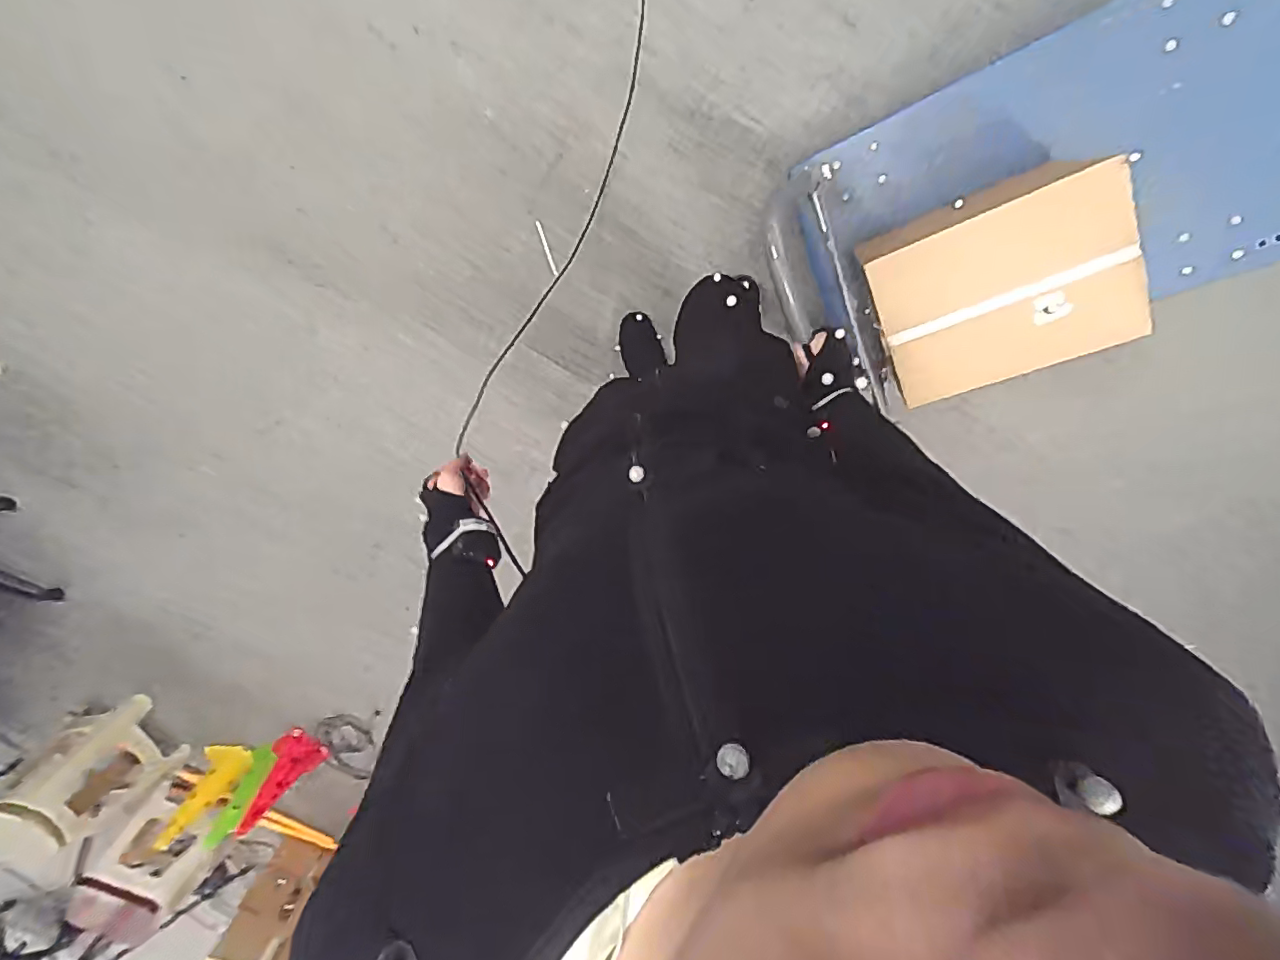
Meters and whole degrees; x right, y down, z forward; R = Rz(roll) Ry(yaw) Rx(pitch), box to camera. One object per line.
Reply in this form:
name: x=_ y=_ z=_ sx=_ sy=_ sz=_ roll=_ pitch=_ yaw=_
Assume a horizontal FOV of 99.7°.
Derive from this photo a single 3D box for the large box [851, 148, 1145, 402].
large box: x=0.691 y=-0.408 z=1.108 sx=0.408 sy=0.320 sz=0.320 roll=-17 pitch=112 yaw=24
